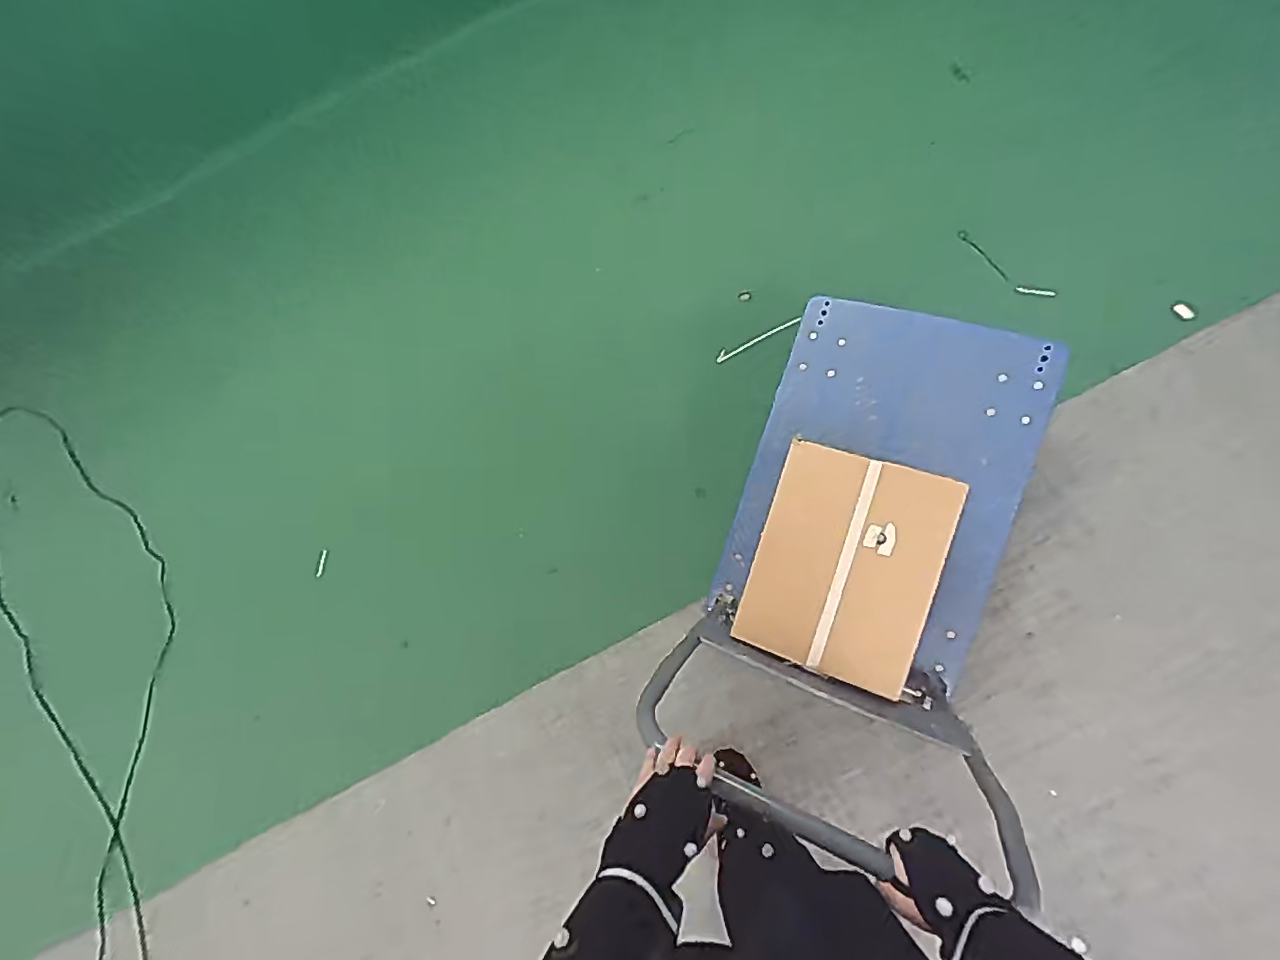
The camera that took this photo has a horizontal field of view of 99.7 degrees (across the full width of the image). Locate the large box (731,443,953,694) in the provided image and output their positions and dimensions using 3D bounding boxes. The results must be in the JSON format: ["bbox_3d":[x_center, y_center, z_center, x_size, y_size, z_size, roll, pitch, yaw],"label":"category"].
[{"bbox_3d":[0.419,0.174,1.159,0.320,0.320,0.408,18,90,19],"label":"large box"}]
